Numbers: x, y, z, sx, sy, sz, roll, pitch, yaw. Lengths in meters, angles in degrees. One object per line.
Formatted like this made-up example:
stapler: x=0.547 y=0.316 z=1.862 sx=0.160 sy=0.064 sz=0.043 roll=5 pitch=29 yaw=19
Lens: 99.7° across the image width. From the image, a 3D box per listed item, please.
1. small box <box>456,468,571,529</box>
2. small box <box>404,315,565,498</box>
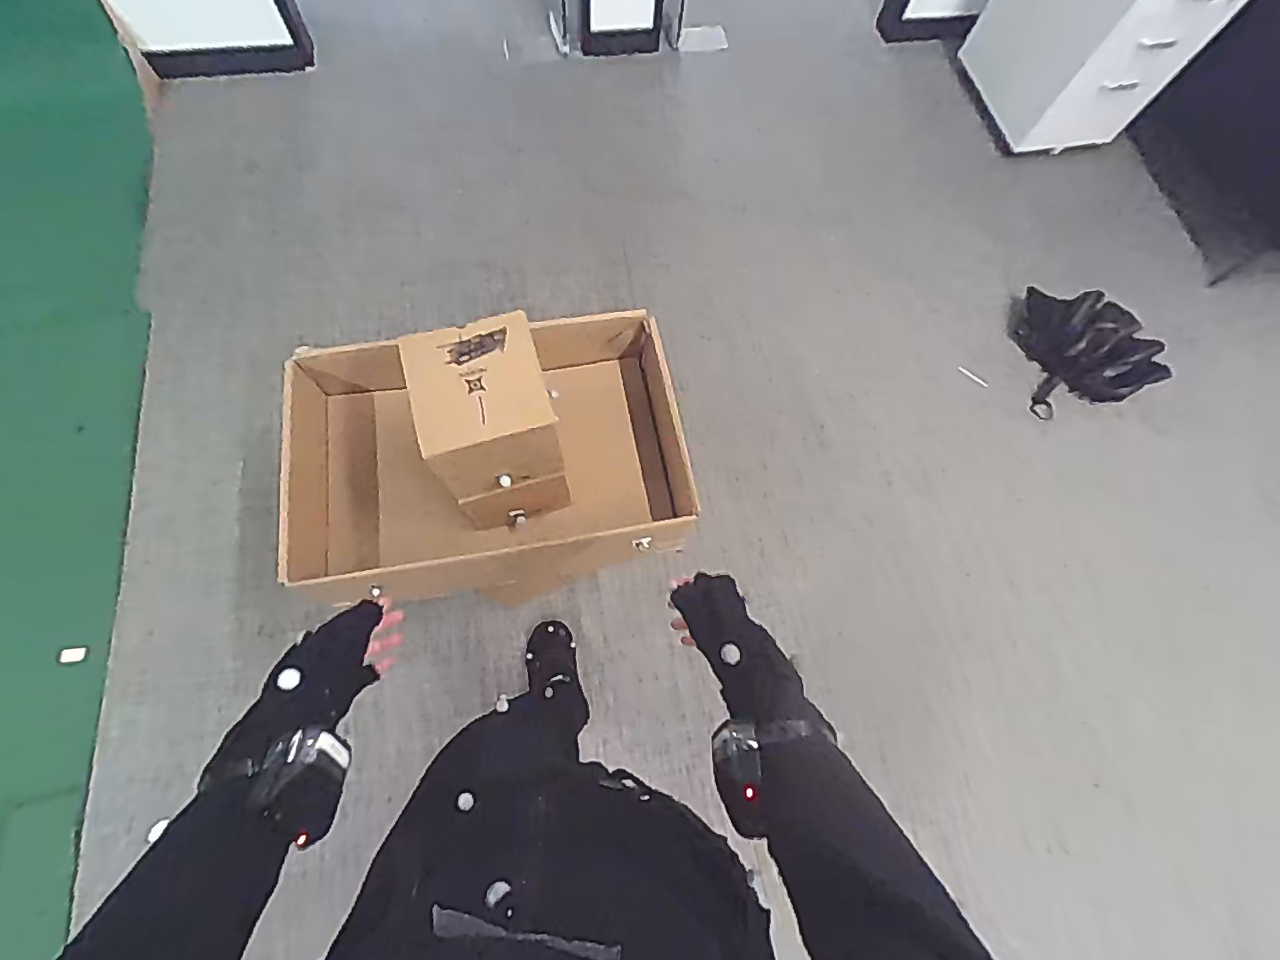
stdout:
small box: x=-0.218 y=-0.036 z=0.911 sx=0.168 sy=0.176 sz=0.179 roll=-16 pitch=72 yaw=-8
small box: x=-0.209 y=-0.095 z=0.759 sx=0.168 sy=0.176 sz=0.179 roll=-16 pitch=72 yaw=-8
